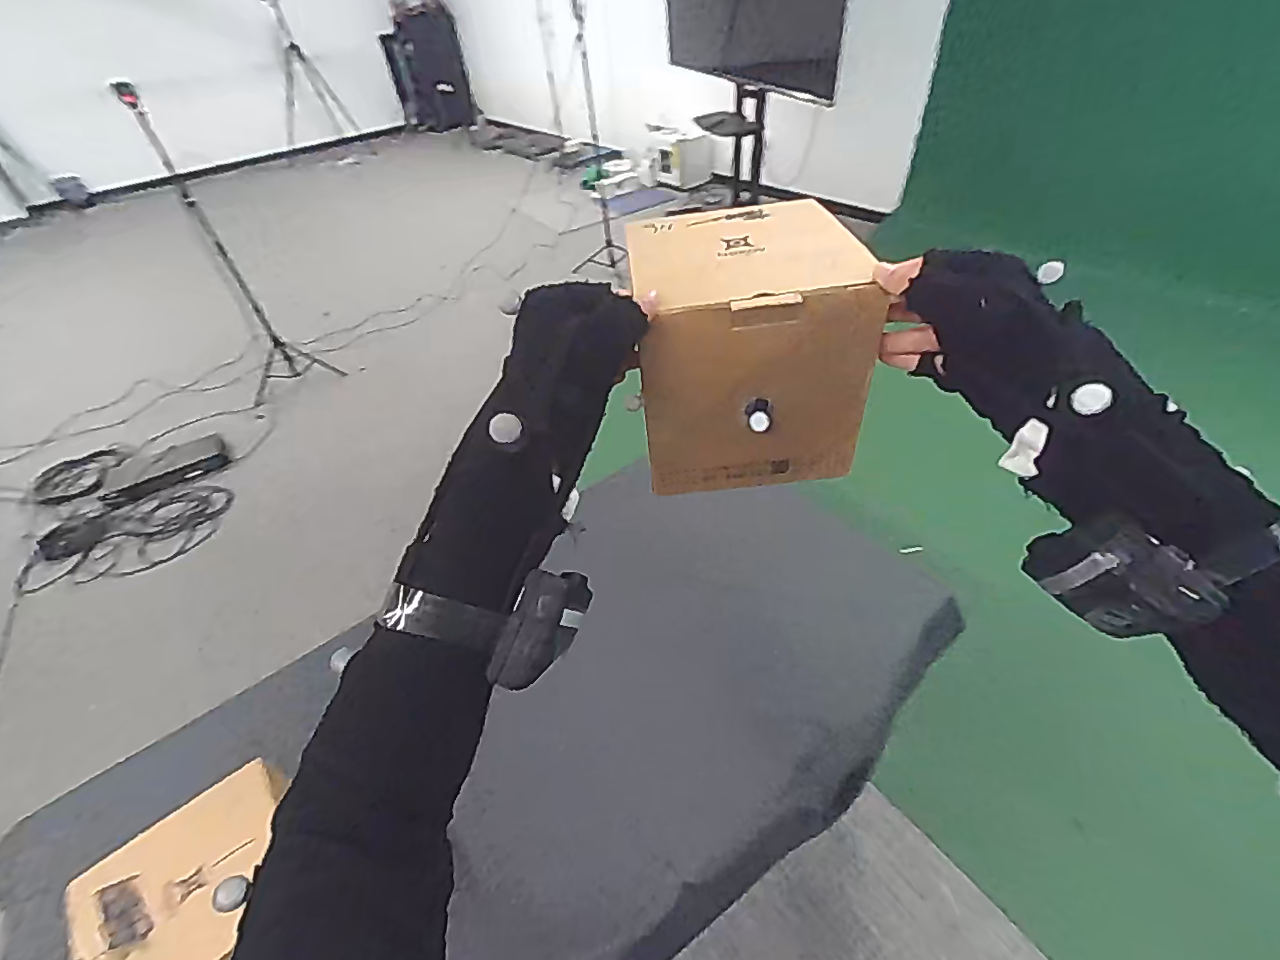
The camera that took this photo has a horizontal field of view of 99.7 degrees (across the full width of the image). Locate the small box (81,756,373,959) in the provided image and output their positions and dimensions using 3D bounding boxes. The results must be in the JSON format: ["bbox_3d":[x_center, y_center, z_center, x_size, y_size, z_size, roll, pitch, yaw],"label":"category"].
[{"bbox_3d":[-0.421,0.444,0.569,0.179,0.176,0.168,-32,49,-26],"label":"small box"}]

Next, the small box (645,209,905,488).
[{"bbox_3d":[0.095,-0.106,0.460,0.168,0.176,0.179,-5,43,2],"label":"small box"}]
